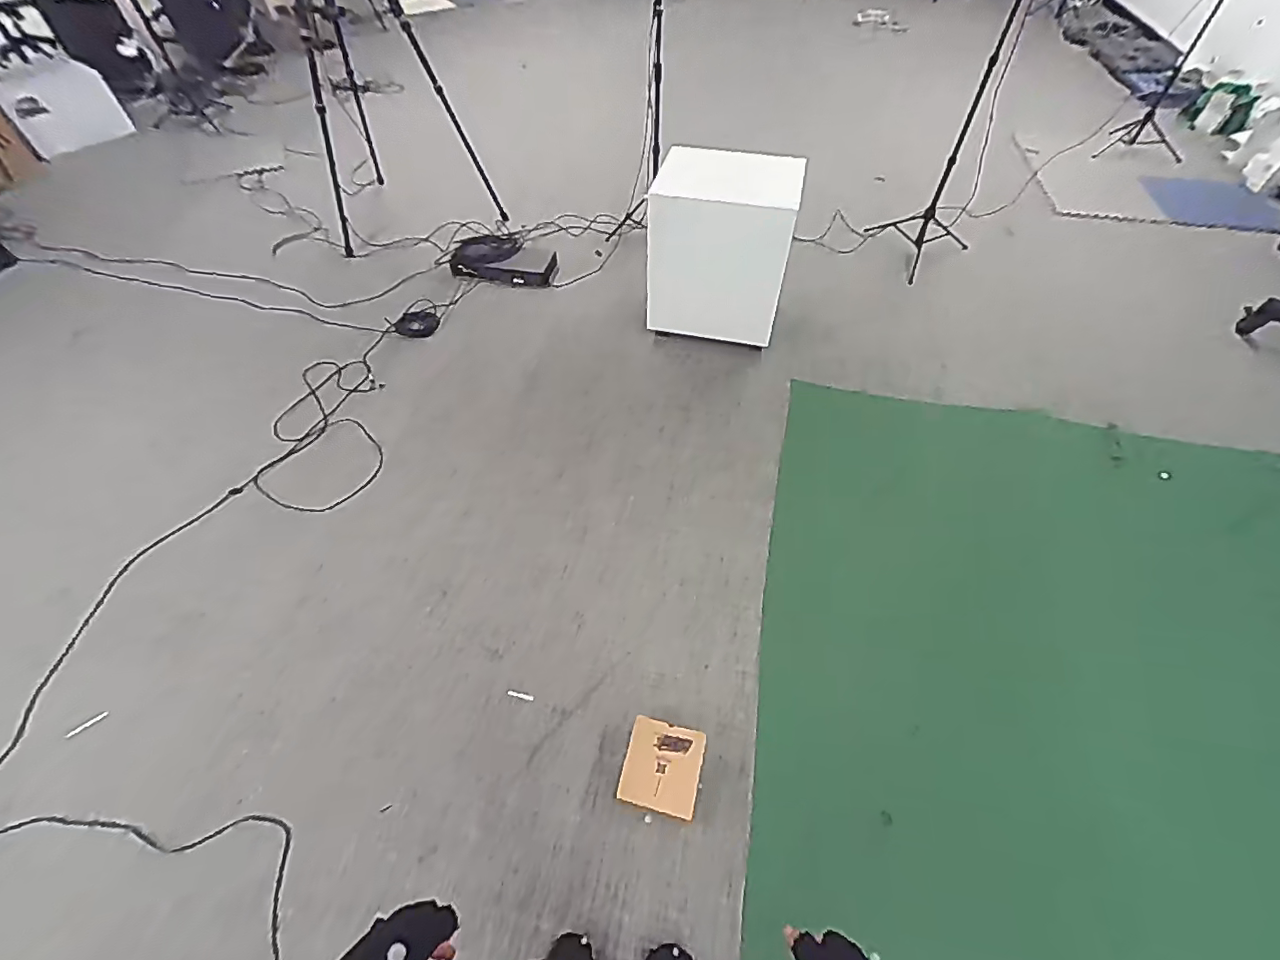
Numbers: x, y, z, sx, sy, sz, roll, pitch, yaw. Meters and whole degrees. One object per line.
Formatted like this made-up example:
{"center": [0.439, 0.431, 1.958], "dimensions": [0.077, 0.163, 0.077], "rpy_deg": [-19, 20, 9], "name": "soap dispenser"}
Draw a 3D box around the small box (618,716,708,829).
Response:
{"center": [0.052, 0.668, 1.232], "dimensions": [0.168, 0.176, 0.179], "rpy_deg": [12, 54, 10], "name": "small box"}
